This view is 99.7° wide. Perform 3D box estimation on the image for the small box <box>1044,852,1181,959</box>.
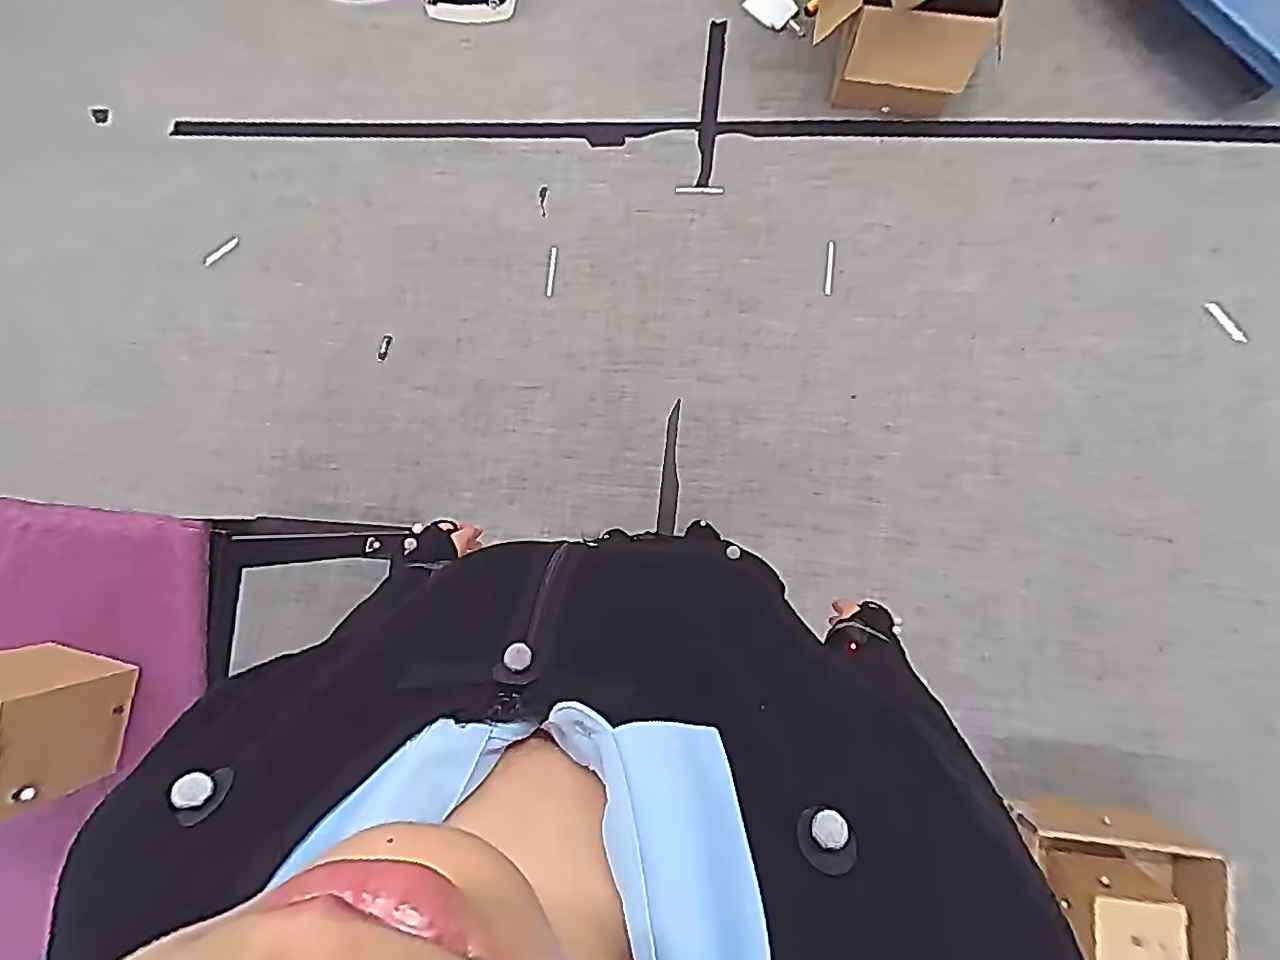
[{"bbox_3d":[1.044,0.969,1.209,0.179,0.176,0.168,2,87,6],"label":"small box"}]
